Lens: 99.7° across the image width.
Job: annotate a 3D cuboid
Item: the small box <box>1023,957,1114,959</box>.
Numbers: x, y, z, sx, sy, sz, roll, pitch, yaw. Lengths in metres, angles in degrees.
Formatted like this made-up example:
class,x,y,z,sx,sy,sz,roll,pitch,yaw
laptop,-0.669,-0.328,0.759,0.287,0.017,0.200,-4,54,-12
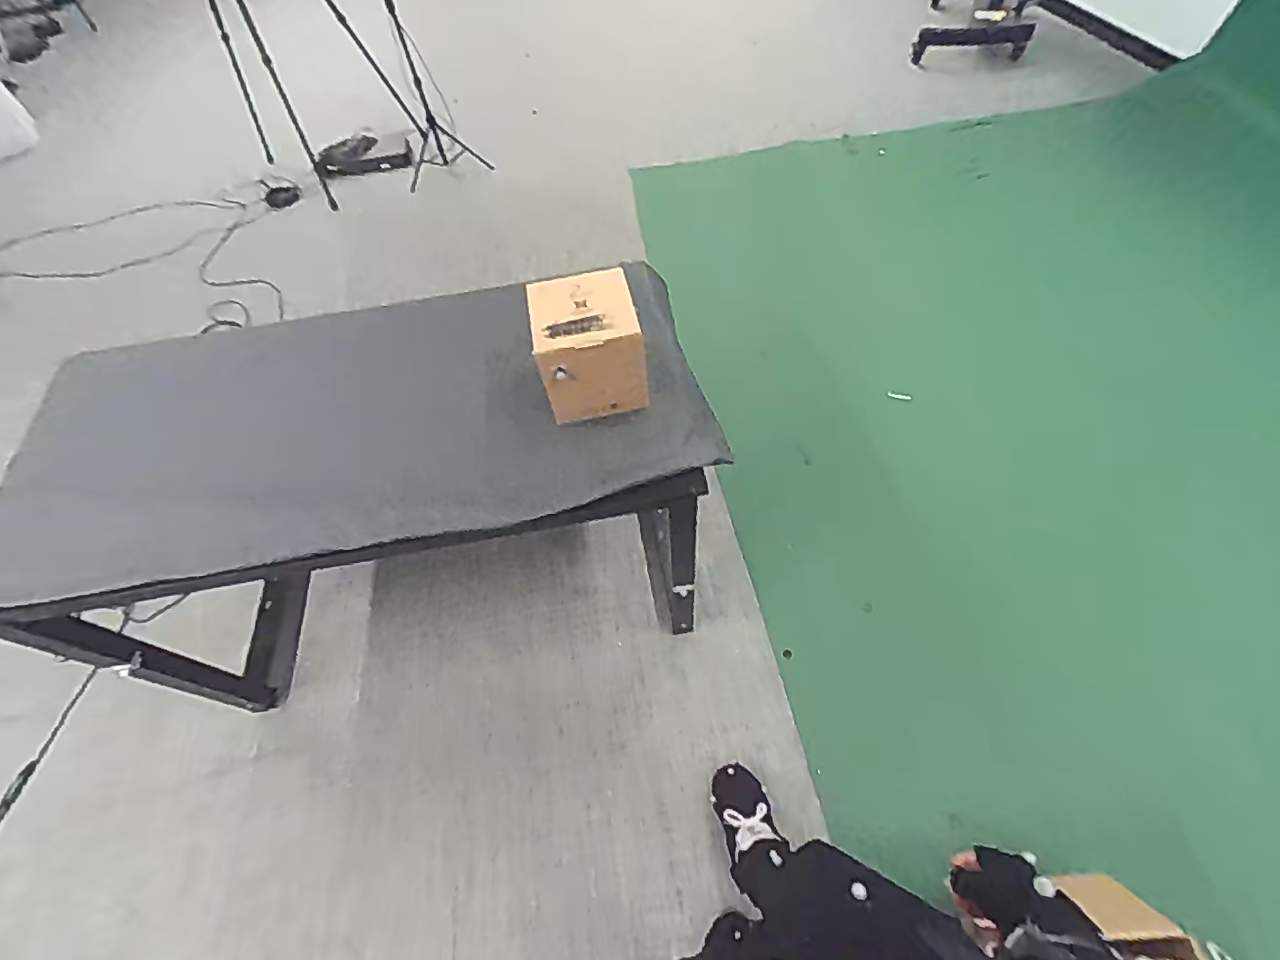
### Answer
class,x,y,z,sx,sy,sz,roll,pitch,yaw
small box,0.718,0.835,0.811,0.179,0.176,0.168,-2,54,3
